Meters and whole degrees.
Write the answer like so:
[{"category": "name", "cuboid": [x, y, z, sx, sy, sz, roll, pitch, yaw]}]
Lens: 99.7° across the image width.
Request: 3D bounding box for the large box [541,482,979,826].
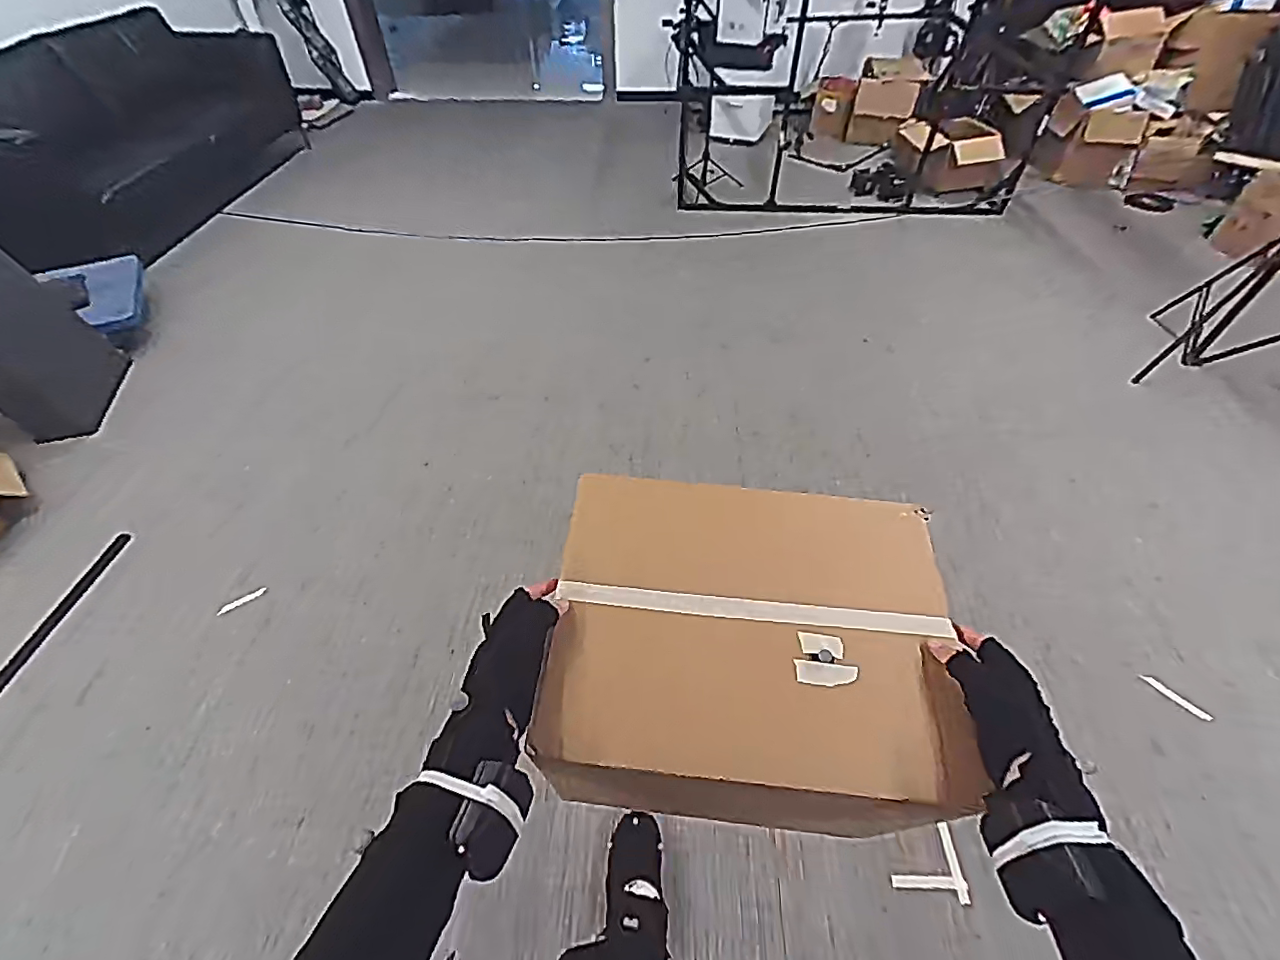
[{"category": "large box", "cuboid": [0.113, 0.229, 0.690, 0.408, 0.320, 0.320, 6, 54, 2]}]
